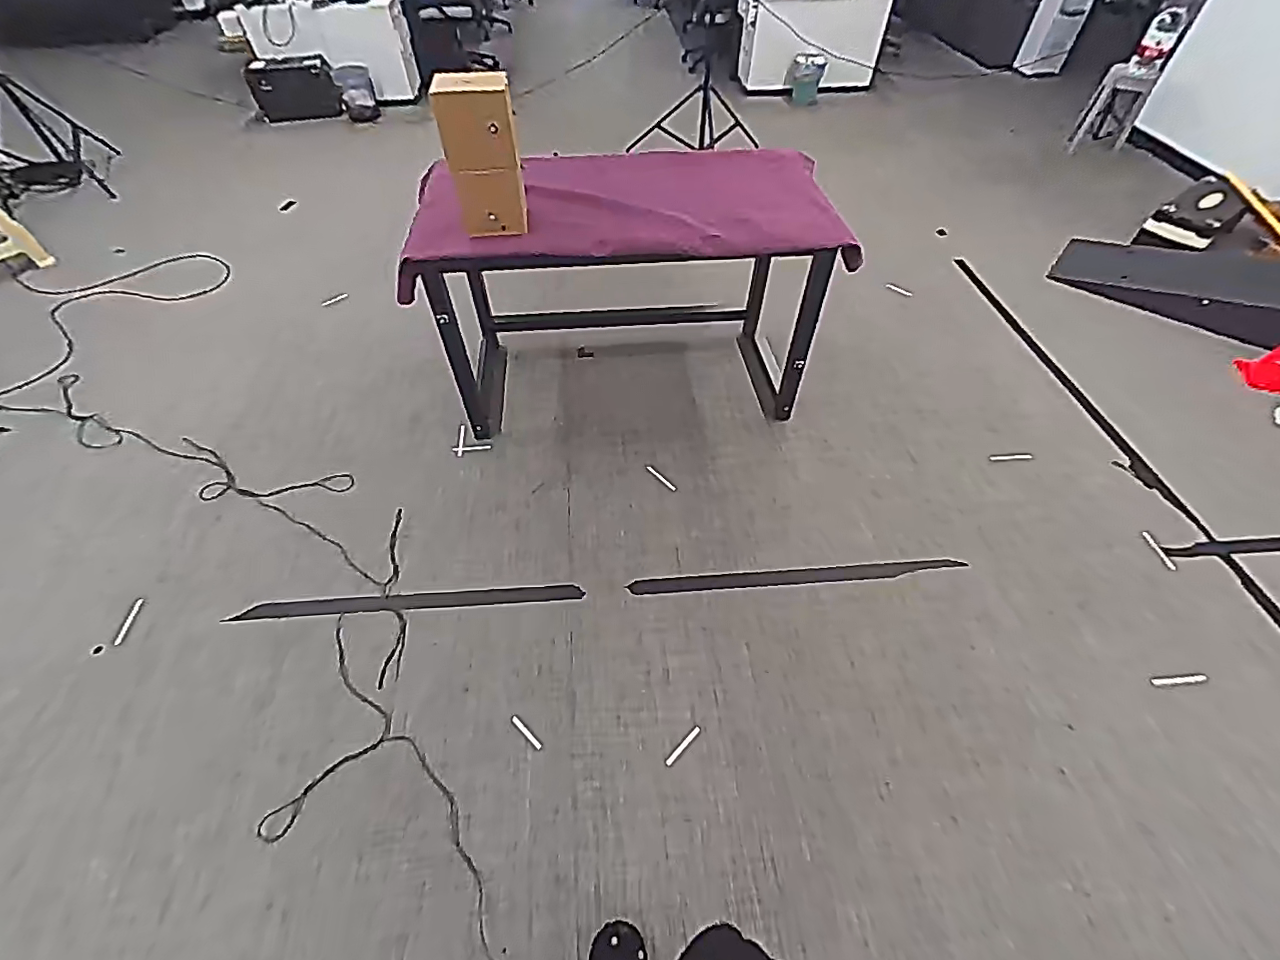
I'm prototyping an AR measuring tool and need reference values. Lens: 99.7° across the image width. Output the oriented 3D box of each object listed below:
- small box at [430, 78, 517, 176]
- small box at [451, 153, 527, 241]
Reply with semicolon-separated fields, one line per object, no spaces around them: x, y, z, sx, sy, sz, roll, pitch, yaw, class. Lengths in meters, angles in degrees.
-0.407;-0.882;1.354;0.179;0.176;0.168;-8;49;-5;small box
-0.406;-0.778;1.479;0.168;0.176;0.179;-6;51;-5;small box
